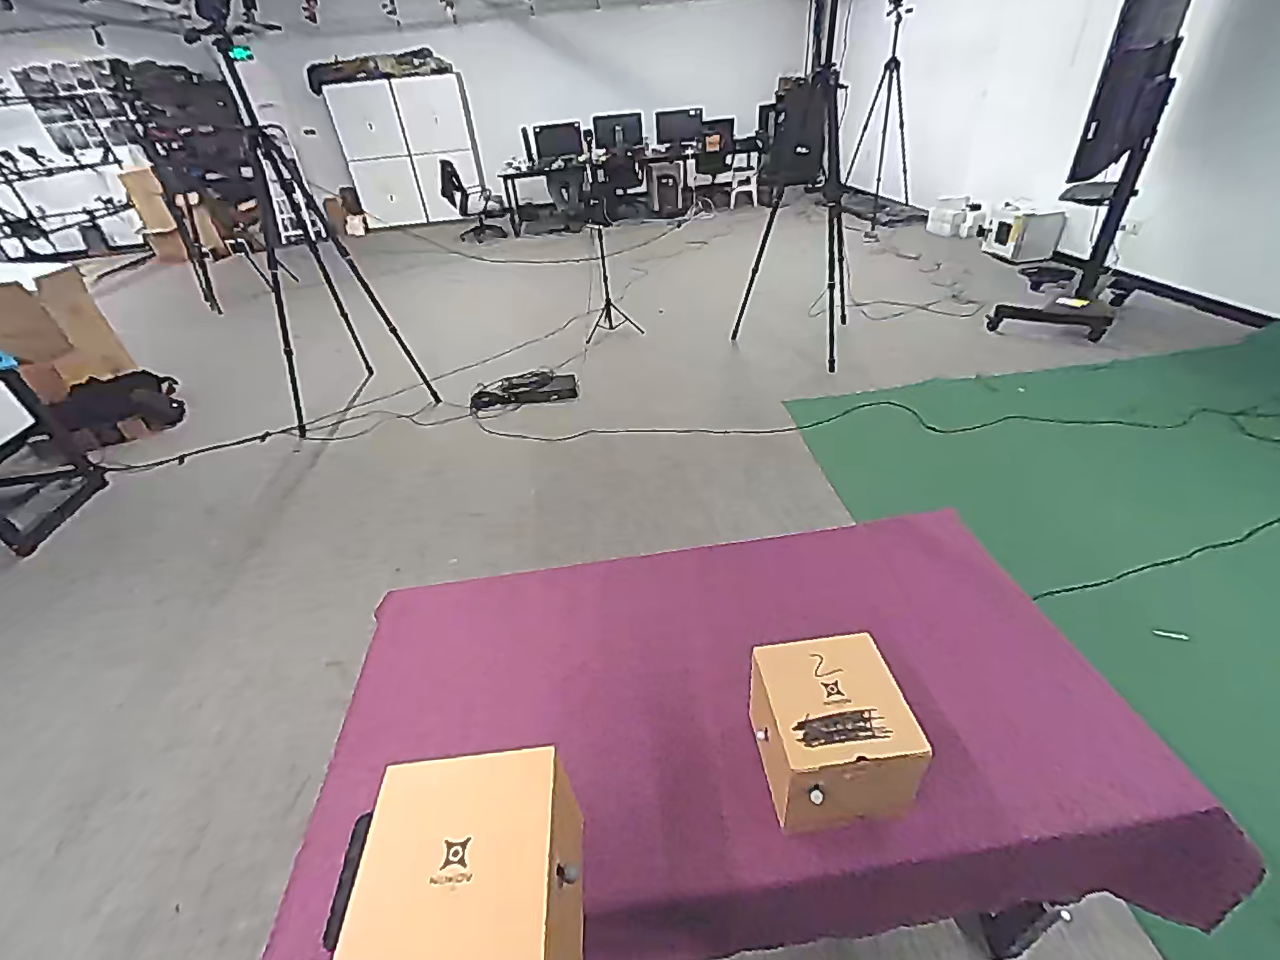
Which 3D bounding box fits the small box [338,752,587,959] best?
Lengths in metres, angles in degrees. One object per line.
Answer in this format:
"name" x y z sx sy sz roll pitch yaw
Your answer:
"small box" -0.144 0.385 0.502 0.168 0.176 0.179 -7 39 0
